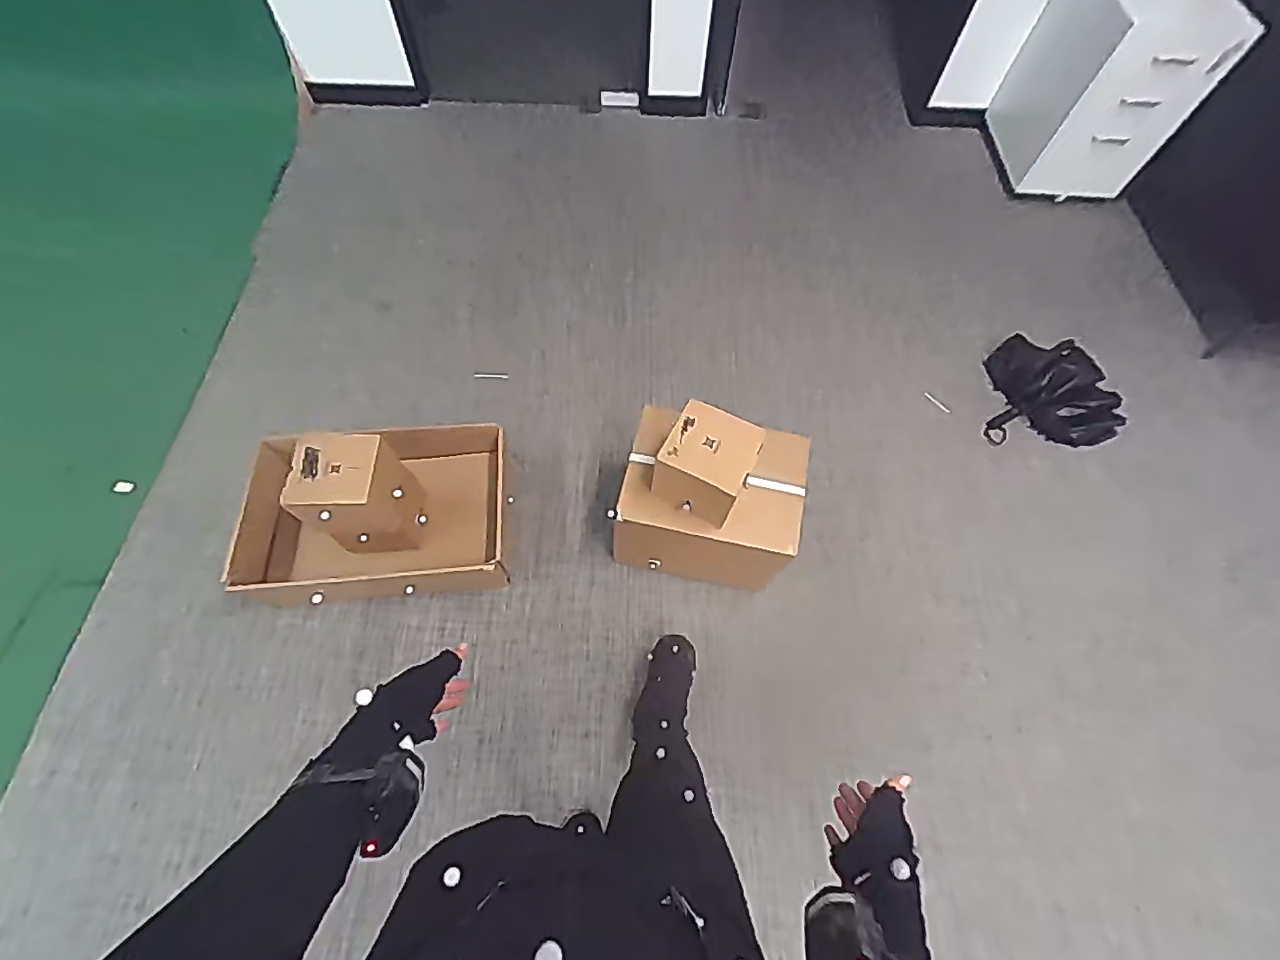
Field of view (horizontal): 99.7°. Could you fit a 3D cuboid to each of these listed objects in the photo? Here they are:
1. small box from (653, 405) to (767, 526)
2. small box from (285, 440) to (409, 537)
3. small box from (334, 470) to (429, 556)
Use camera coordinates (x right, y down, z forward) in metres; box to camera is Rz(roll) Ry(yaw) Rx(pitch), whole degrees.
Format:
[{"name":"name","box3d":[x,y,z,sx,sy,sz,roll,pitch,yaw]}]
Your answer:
[{"name":"small box","box3d":[0.142,-0.022,1.150,0.179,0.176,0.168,27,65,10]},{"name":"small box","box3d":[-0.644,0.023,1.210,0.179,0.176,0.168,0,63,-4]},{"name":"small box","box3d":[-0.652,0.087,1.362,0.179,0.176,0.168,-3,64,-5]}]
